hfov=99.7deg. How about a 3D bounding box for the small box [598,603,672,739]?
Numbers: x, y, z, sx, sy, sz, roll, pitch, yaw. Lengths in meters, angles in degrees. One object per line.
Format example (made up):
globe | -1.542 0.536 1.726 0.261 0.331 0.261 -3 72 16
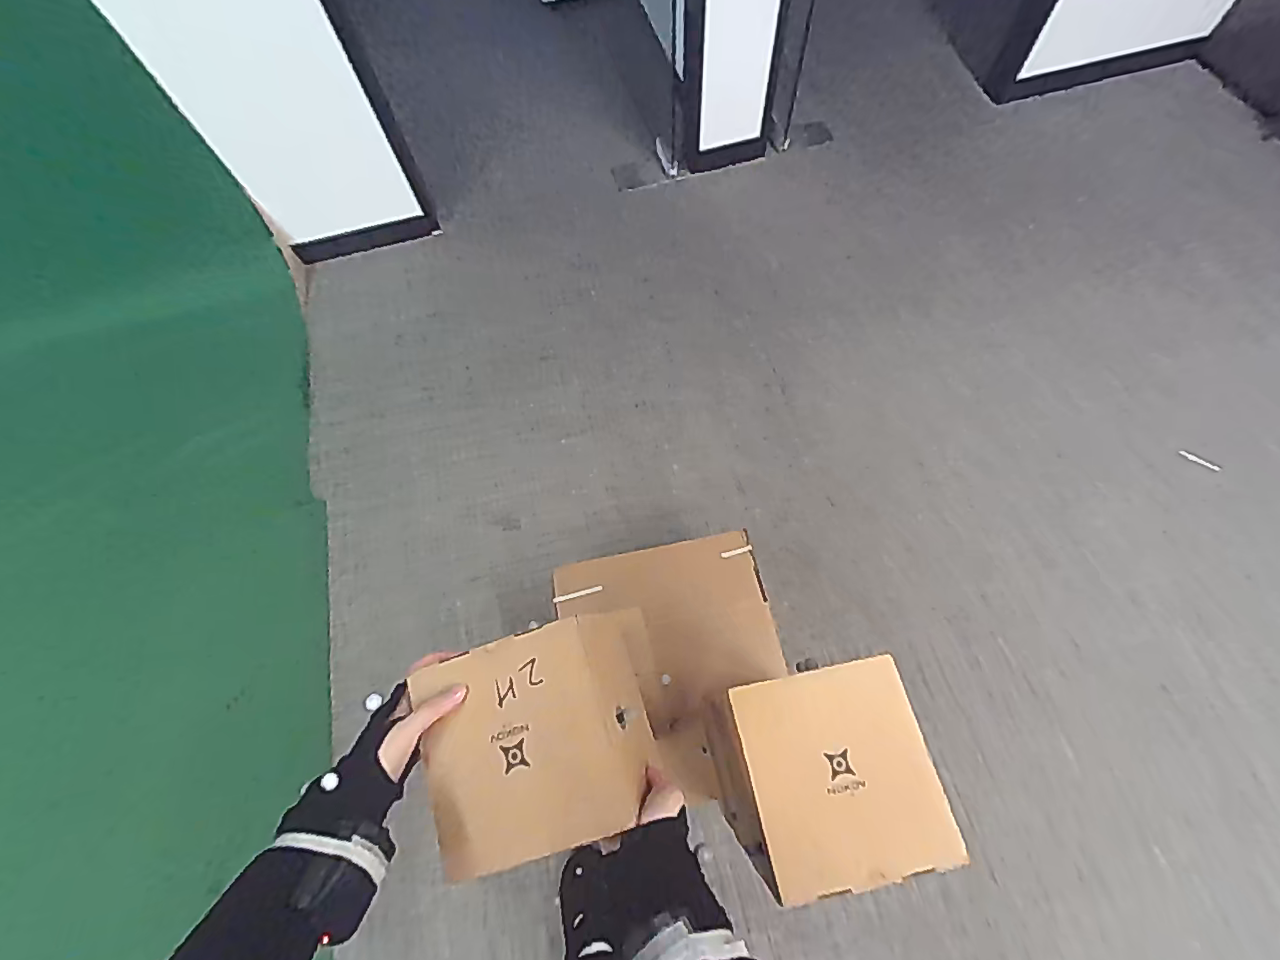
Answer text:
small box | -0.059 0.287 0.752 0.179 0.176 0.168 -14 65 -2

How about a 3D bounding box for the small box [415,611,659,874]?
small box | -0.089 0.237 0.536 0.168 0.176 0.179 -20 74 4

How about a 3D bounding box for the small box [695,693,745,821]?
small box | 0.193 0.418 0.861 0.179 0.176 0.168 -14 65 -2

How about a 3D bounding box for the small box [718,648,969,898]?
small box | 0.185 0.290 0.559 0.168 0.176 0.179 -12 66 -3
